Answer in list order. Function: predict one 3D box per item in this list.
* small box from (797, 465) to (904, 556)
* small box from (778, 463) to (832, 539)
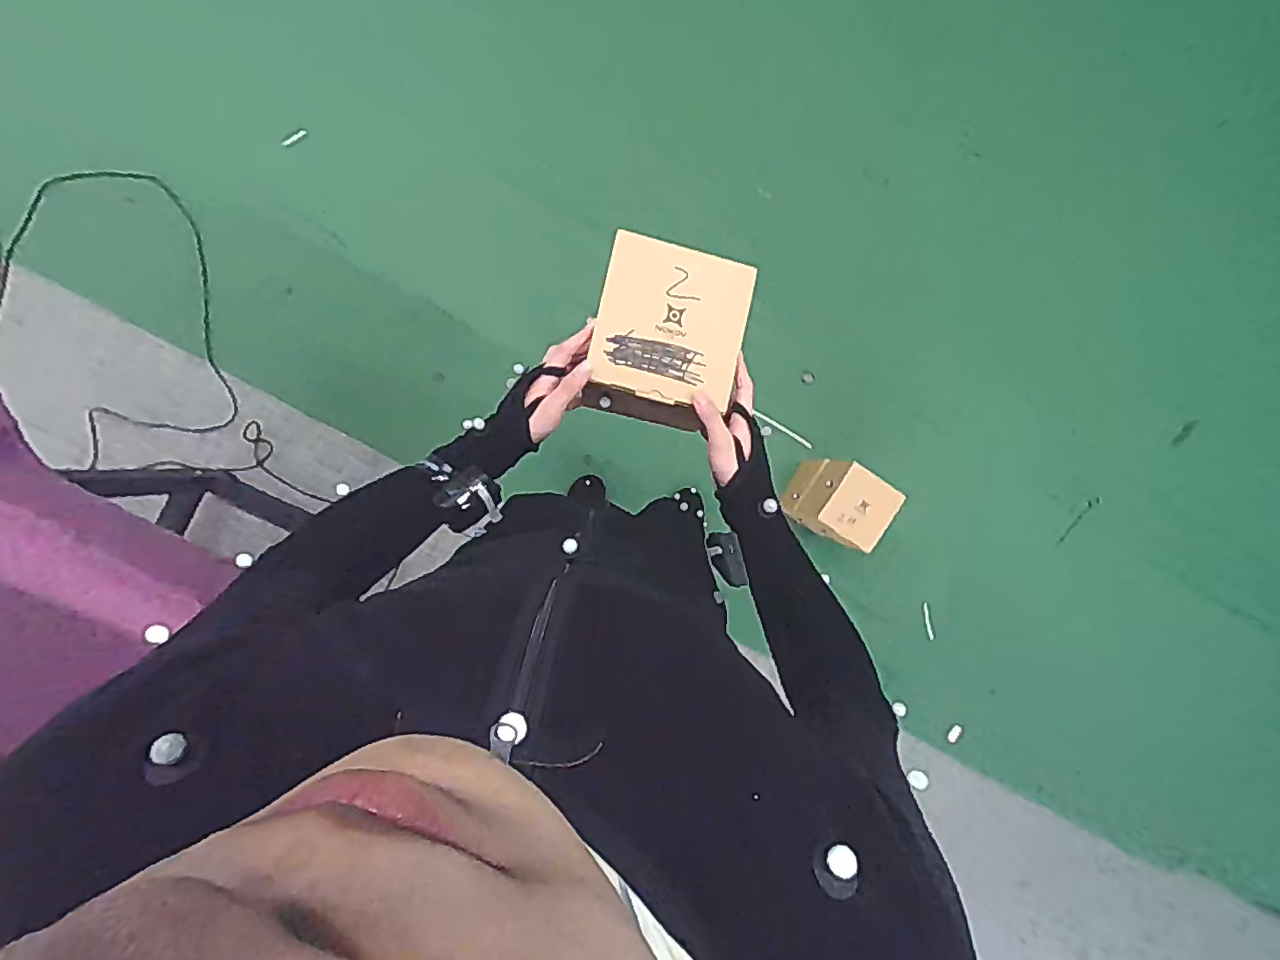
[{"bbox_3d":[0.547,0.073,1.432,0.168,0.176,0.179,34,90,-4],"label":"small box"},{"bbox_3d":[0.535,0.061,1.596,0.168,0.176,0.179,32,90,-5],"label":"small box"}]
